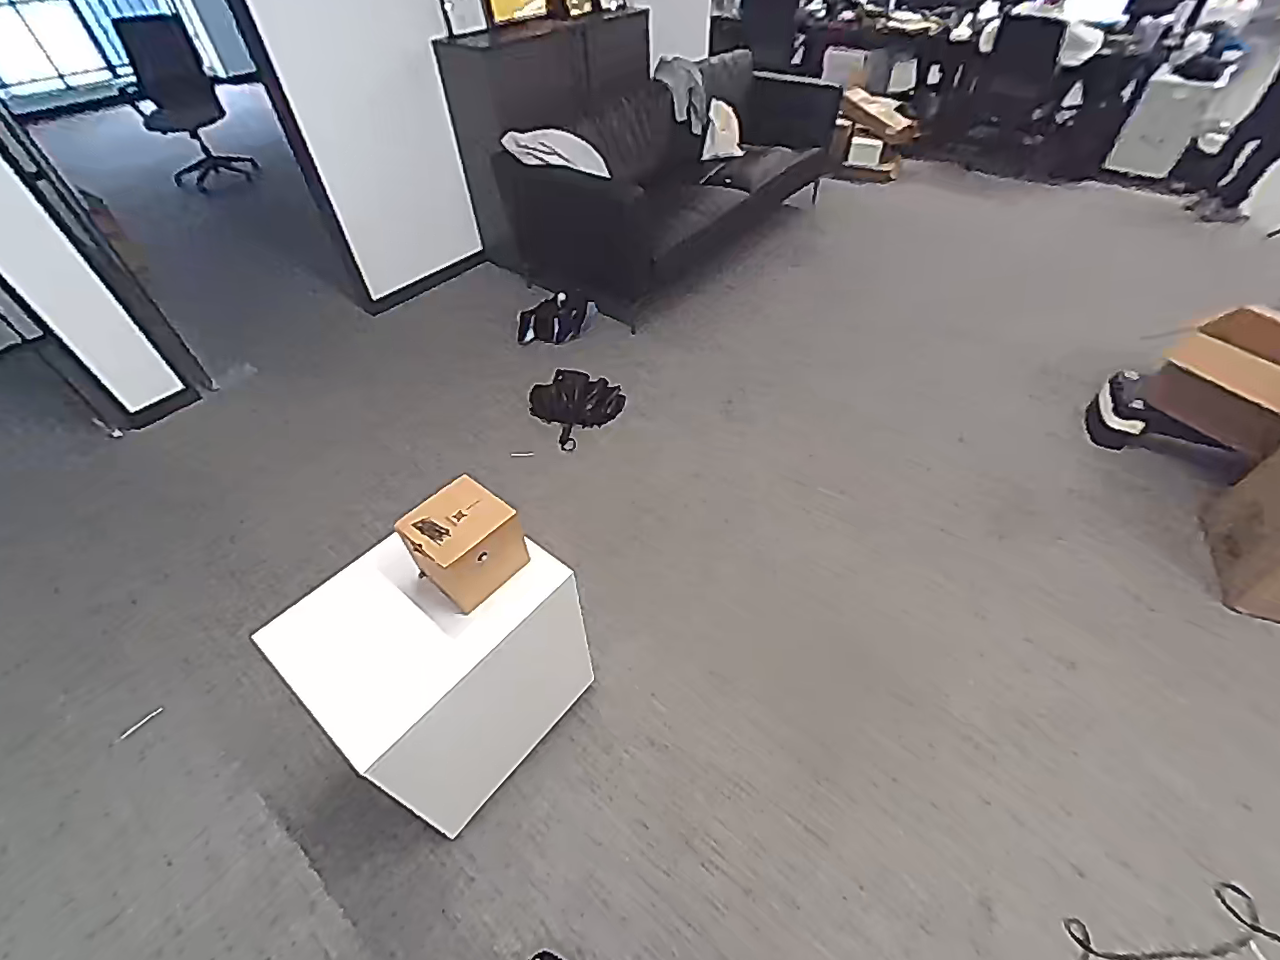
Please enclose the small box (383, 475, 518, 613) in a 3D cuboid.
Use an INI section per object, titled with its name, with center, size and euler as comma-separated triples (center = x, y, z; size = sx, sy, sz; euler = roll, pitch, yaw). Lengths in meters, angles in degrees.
[small box]
center = -0.364, 0.128, 1.073
size = 0.168, 0.176, 0.179
euler = 31, 52, 25
